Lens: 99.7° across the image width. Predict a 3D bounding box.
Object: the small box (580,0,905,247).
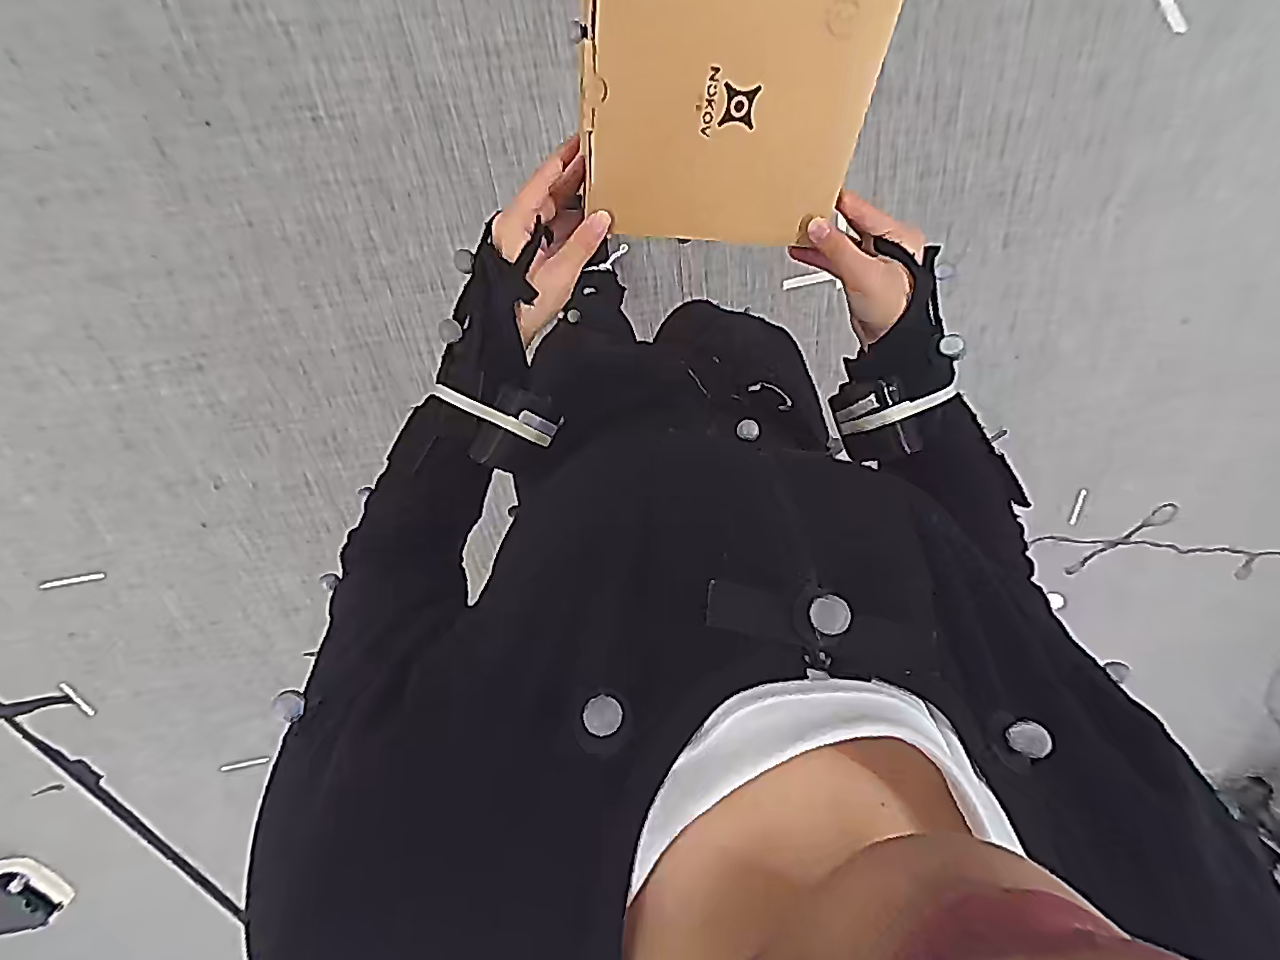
[{"bbox_3d":[0.049,-0.289,0.391,0.179,0.176,0.168,1,135,-8],"label":"small box"}]
